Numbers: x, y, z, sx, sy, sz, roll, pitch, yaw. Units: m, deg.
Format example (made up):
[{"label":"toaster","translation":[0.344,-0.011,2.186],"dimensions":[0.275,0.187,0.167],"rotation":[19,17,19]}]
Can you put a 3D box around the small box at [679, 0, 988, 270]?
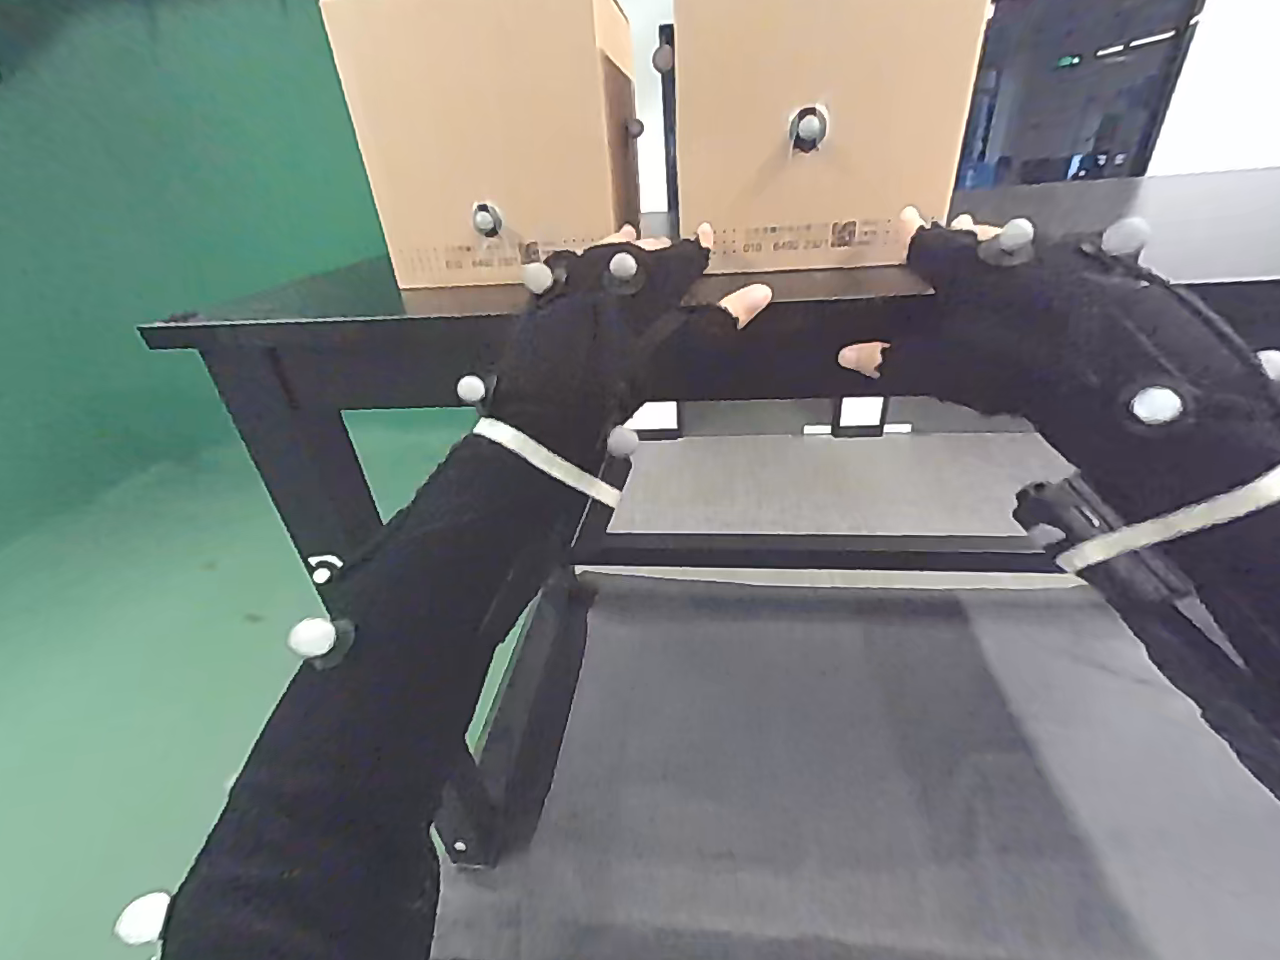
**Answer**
[{"label":"small box","translation":[0.118,-0.249,0.382],"dimensions":[0.168,0.176,0.179],"rotation":[1,31,8]}]
